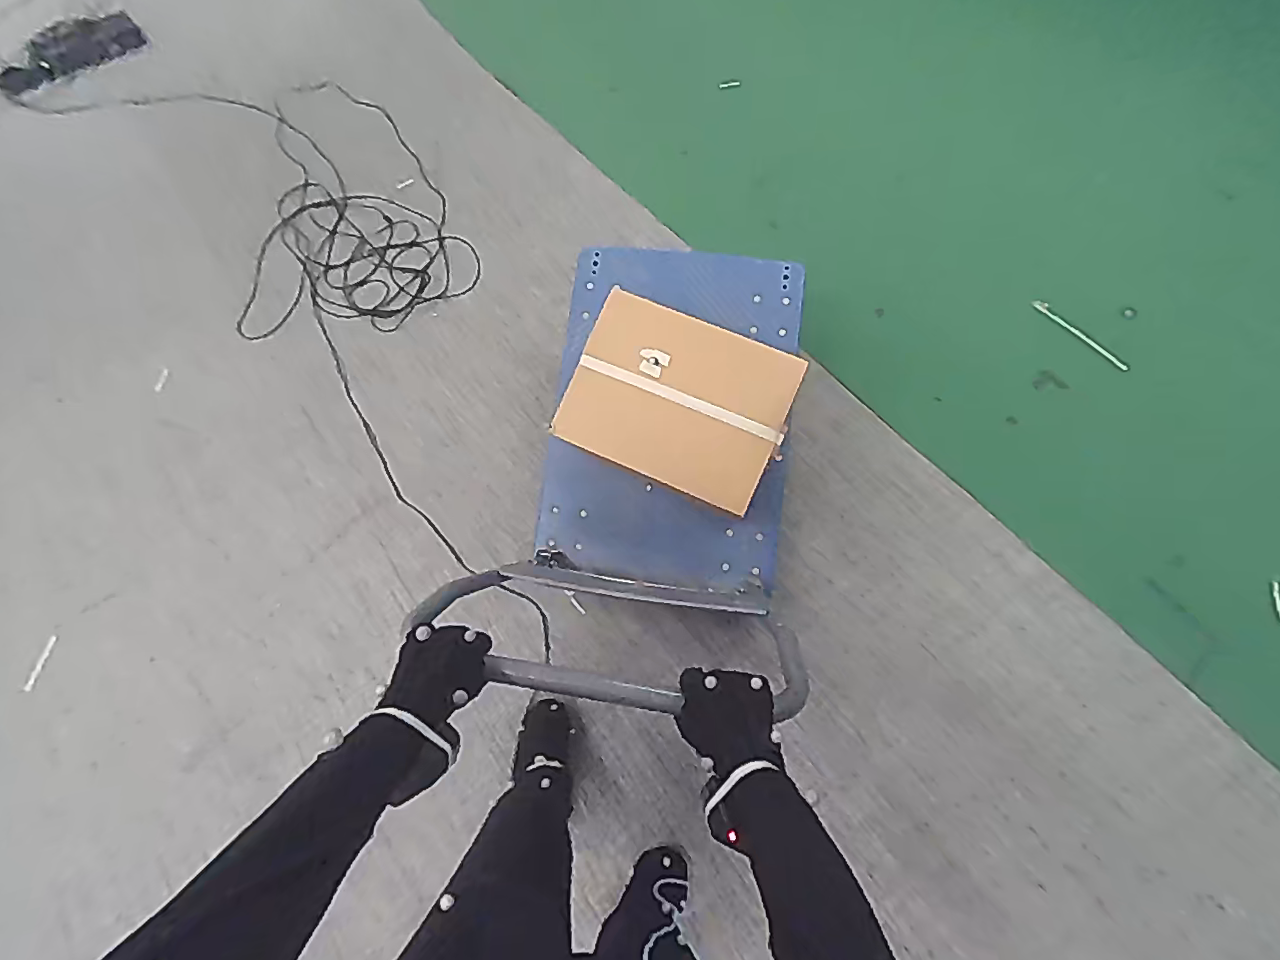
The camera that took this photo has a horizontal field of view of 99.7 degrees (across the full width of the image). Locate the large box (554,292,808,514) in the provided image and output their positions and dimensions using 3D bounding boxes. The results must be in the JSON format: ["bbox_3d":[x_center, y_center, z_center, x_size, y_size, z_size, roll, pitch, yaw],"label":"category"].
[{"bbox_3d":[0.094,-0.140,1.156,0.408,0.320,0.320,23,88,10],"label":"large box"}]
